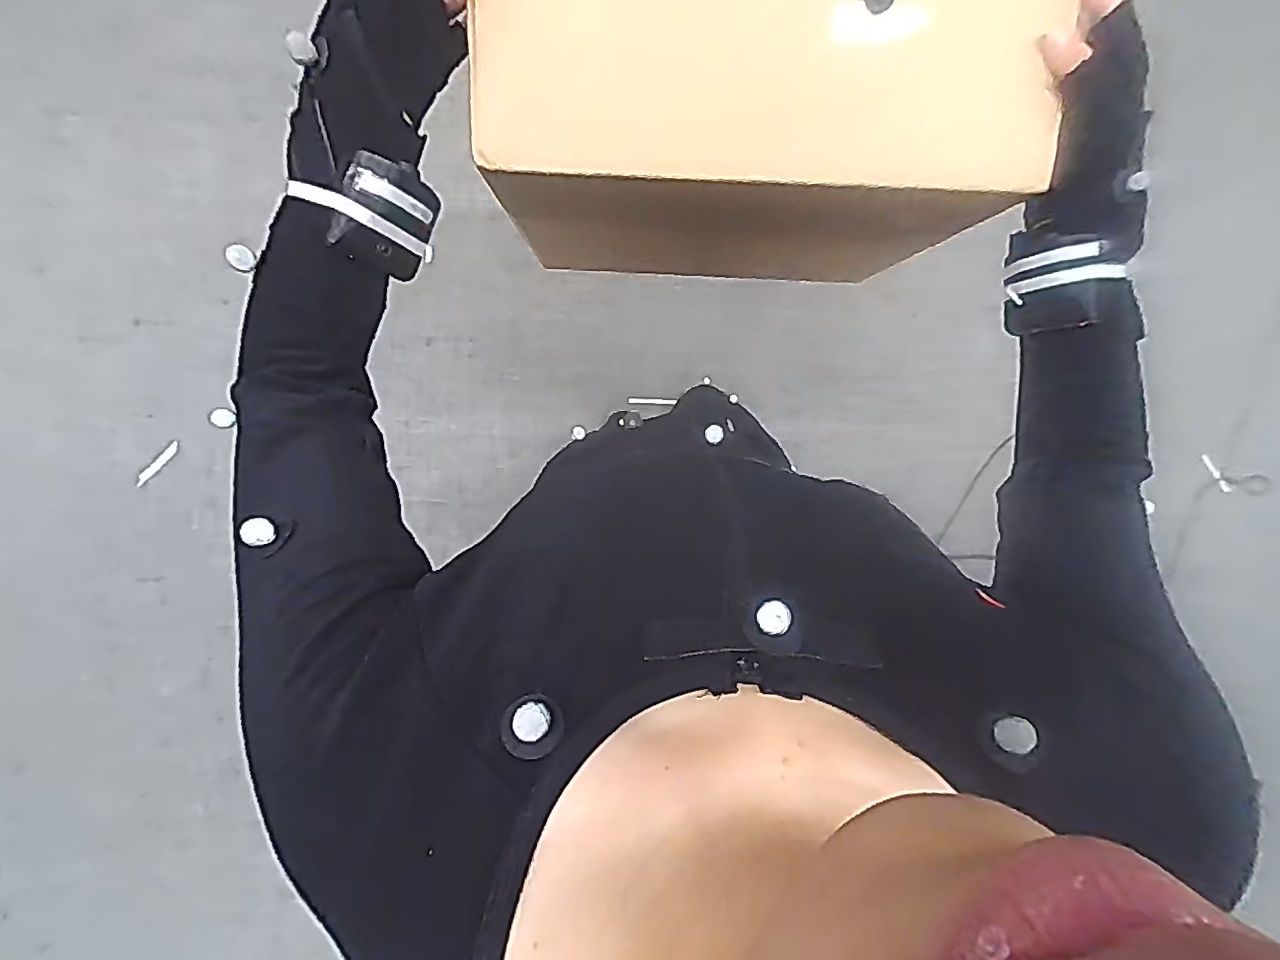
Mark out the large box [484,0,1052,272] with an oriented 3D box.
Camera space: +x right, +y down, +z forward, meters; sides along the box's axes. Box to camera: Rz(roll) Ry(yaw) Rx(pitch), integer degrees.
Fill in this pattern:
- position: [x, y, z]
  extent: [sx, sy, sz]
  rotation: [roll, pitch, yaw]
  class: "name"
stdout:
- position: [0.085, -0.395, 0.515]
  extent: [0.408, 0.320, 0.320]
  rotation: [1, 99, -2]
  class: "large box"
